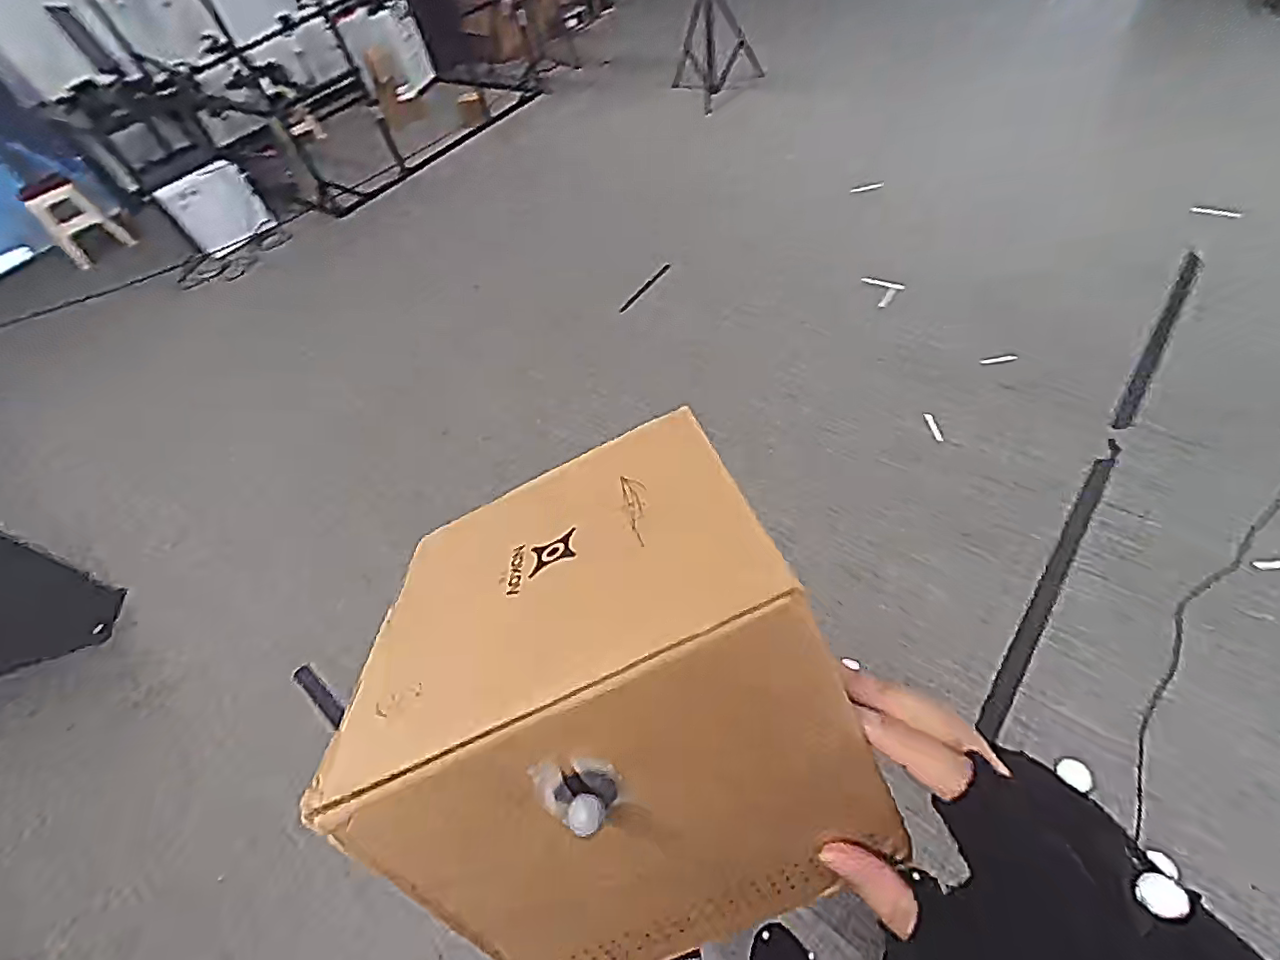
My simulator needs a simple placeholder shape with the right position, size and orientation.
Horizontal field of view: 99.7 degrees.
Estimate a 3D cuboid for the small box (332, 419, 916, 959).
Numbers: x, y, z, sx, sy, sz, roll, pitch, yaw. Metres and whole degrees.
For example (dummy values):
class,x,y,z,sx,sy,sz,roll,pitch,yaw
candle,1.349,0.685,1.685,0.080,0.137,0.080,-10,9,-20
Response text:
class,x,y,z,sx,sy,sz,roll,pitch,yaw
small box,0.003,0.103,0.271,0.179,0.176,0.168,-26,27,6
